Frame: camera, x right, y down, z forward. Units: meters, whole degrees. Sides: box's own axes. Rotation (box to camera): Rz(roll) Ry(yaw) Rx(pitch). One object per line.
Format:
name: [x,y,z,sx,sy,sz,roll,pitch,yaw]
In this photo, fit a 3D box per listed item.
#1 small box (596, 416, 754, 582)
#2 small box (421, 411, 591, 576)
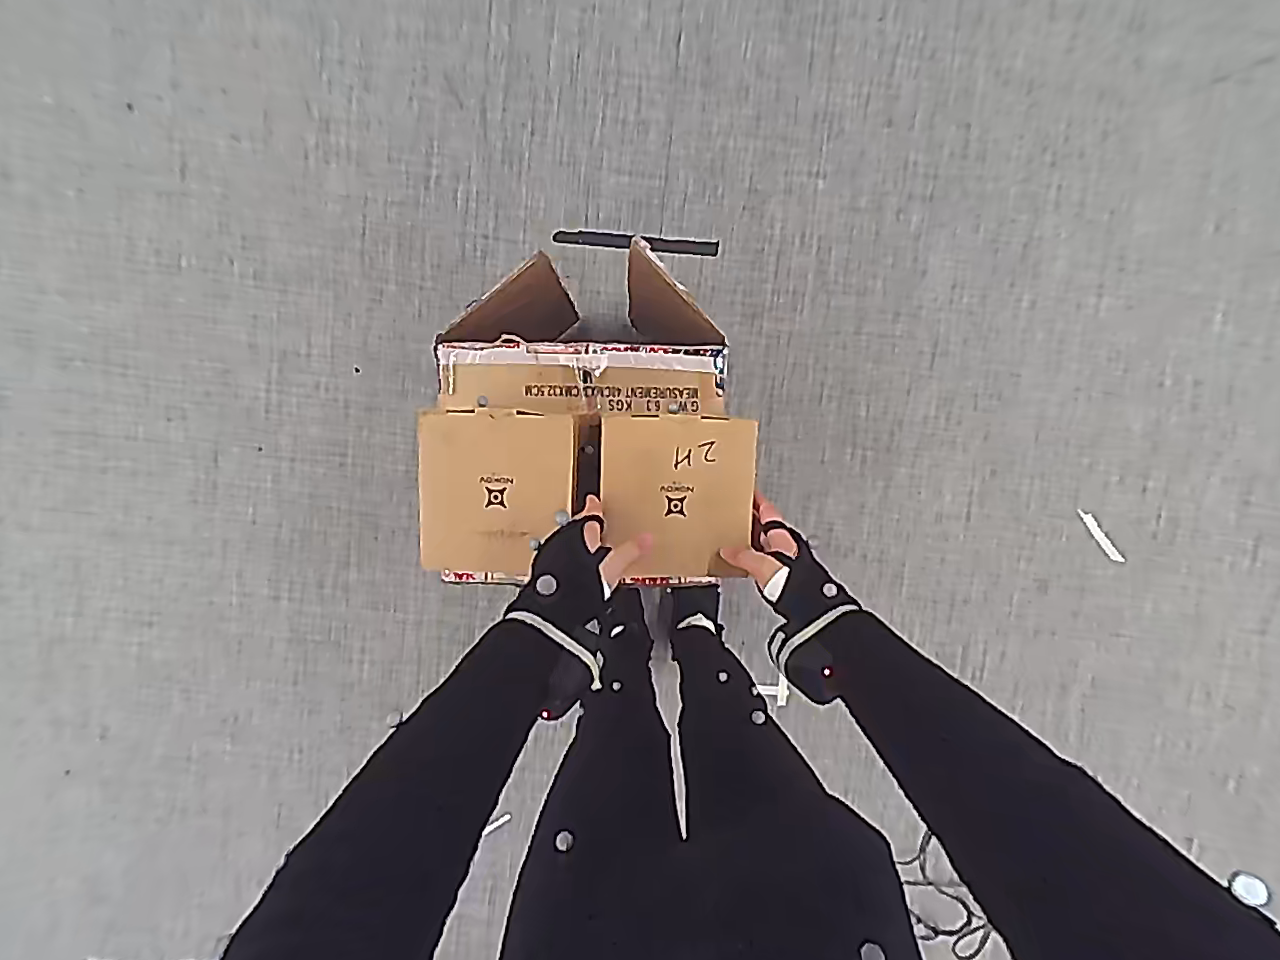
small box: [0.036,0.014,0.661,0.168,0.176,0.179,2,97,-1]
small box: [-0.152,0.006,0.659,0.168,0.176,0.179,1,99,1]
